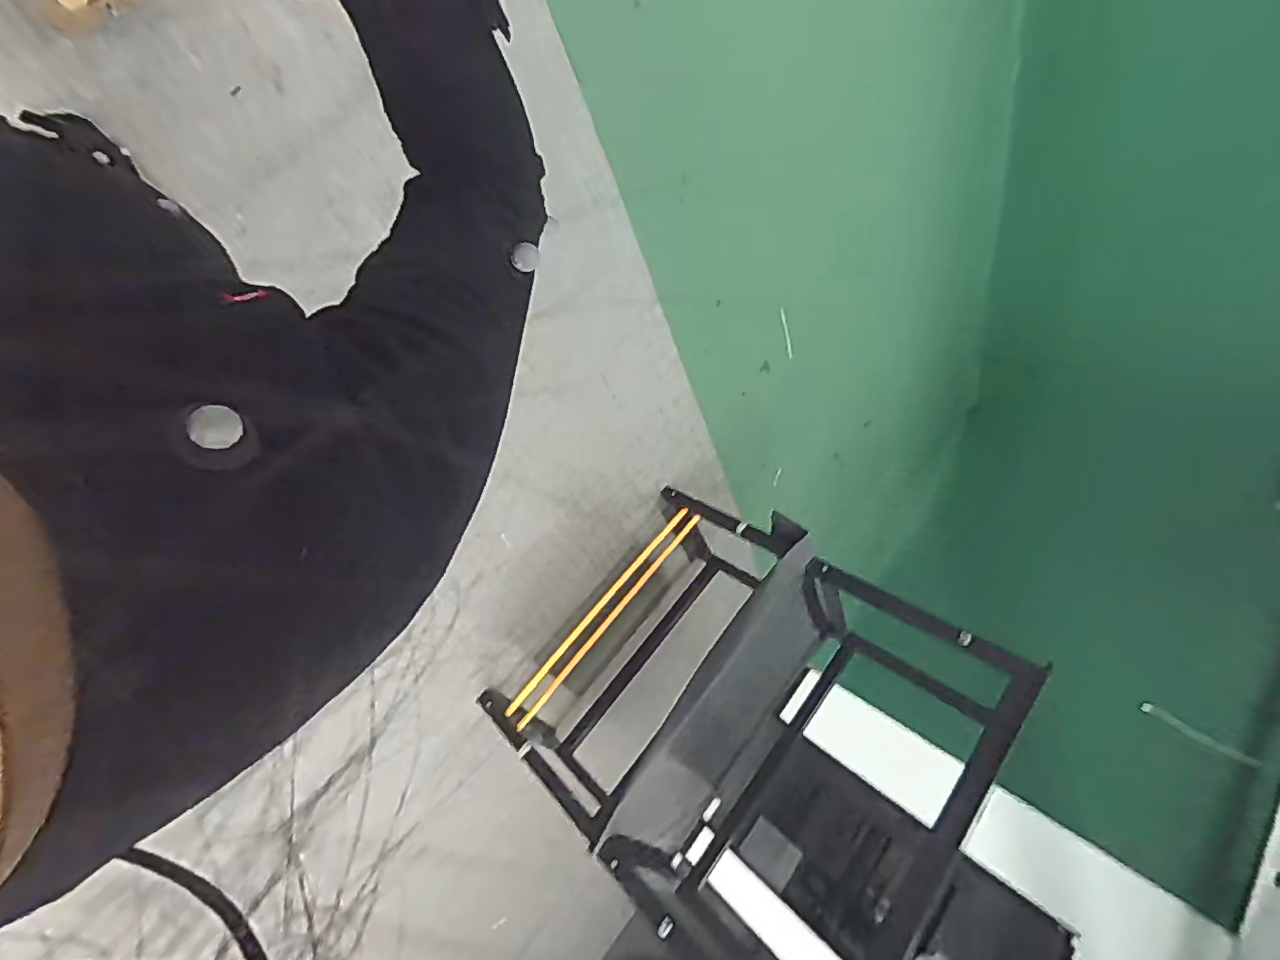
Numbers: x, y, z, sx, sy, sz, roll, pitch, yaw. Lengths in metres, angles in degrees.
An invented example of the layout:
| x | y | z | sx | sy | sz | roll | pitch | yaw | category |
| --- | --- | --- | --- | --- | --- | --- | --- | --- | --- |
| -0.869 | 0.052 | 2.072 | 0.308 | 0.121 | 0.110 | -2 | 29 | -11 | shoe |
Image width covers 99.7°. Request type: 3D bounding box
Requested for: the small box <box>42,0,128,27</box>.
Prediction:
| x | y | z | sx | sy | sz | roll | pitch | yaw | category |
| --- | --- | --- | --- | --- | --- | --- | --- | --- | --- |
| -0.876 | -0.830 | 0.808 | 0.168 | 0.176 | 0.179 | -50 | 138 | -15 | small box |
